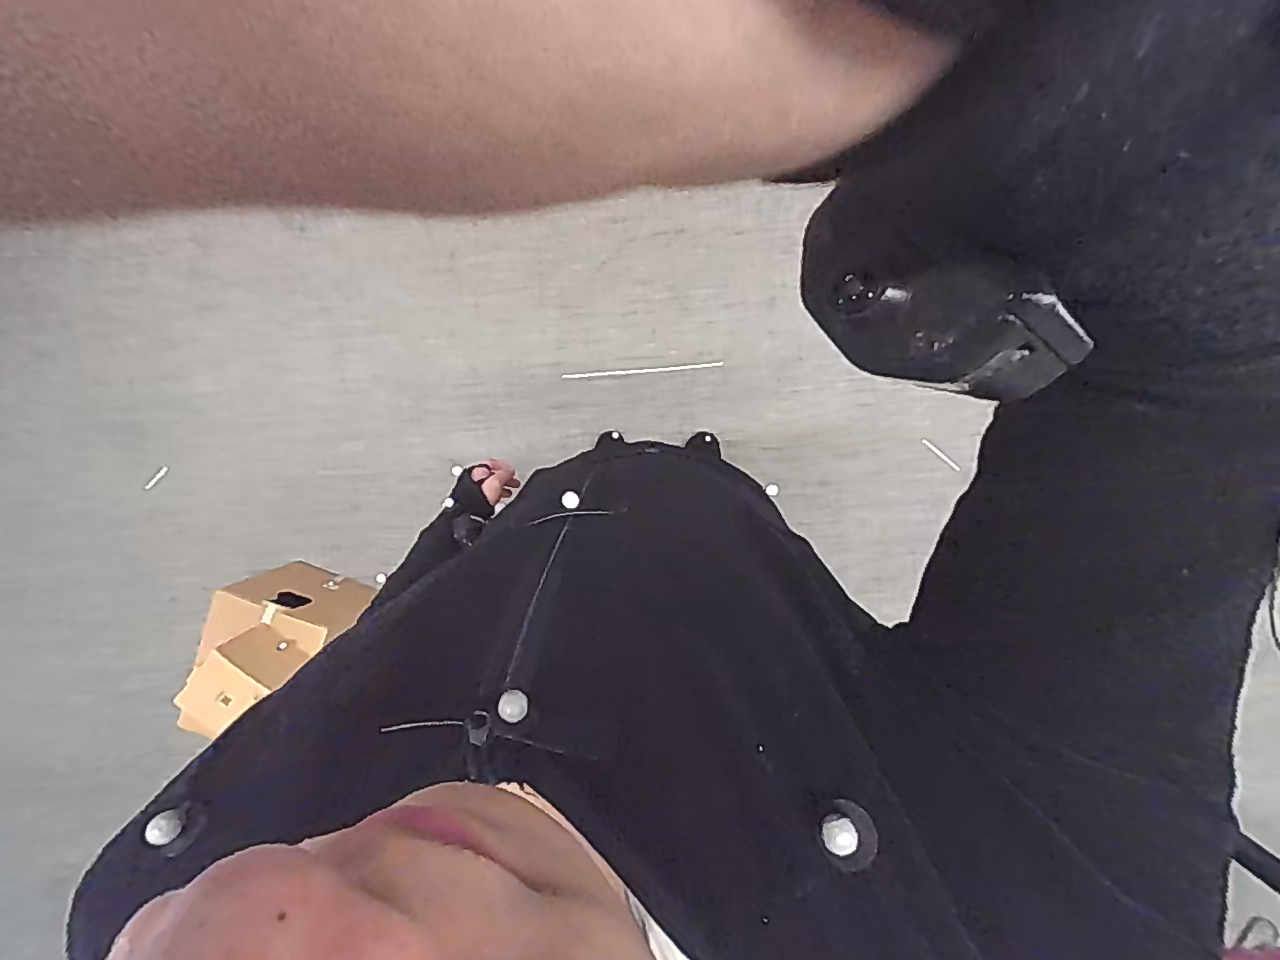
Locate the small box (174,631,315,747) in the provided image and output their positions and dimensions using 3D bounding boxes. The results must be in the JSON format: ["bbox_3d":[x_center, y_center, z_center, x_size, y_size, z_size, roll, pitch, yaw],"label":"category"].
[{"bbox_3d":[-0.946,0.492,1.310,0.179,0.176,0.168,39,95,-3],"label":"small box"}]

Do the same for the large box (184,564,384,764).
[{"bbox_3d":[-1.002,0.504,1.560,0.320,0.320,0.408,20,96,1],"label":"large box"}]
